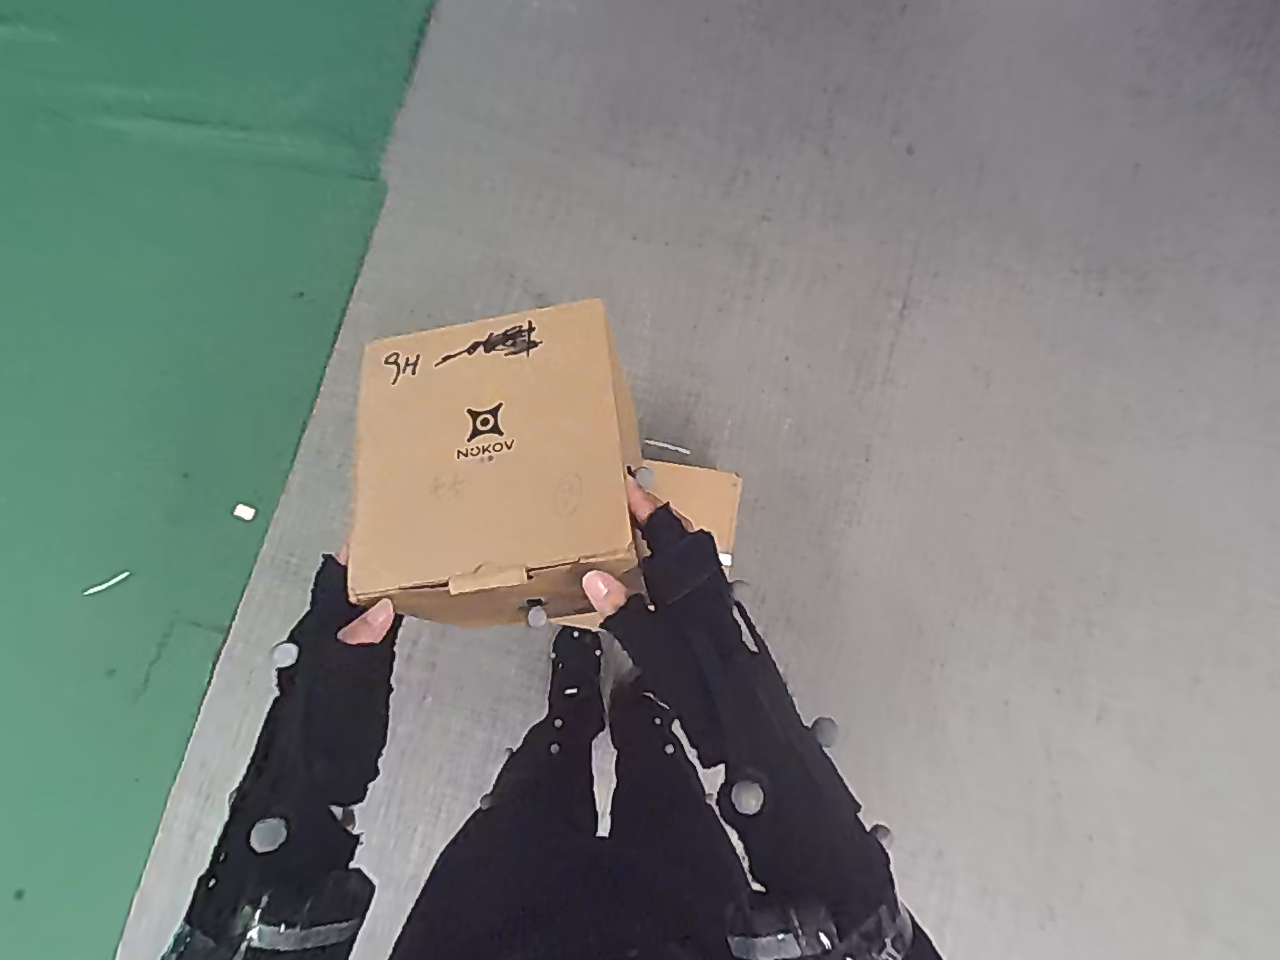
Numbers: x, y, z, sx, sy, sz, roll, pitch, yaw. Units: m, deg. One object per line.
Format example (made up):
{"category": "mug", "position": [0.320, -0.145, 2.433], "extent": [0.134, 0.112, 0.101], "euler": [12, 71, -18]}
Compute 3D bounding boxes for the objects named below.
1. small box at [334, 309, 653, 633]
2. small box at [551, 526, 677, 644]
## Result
{"category": "small box", "position": [-0.088, 0.012, 0.393], "extent": [0.168, 0.176, 0.179], "euler": [-10, 69, 4]}
{"category": "small box", "position": [-0.041, 0.149, 0.860], "extent": [0.179, 0.176, 0.168], "euler": [10, 85, 4]}
